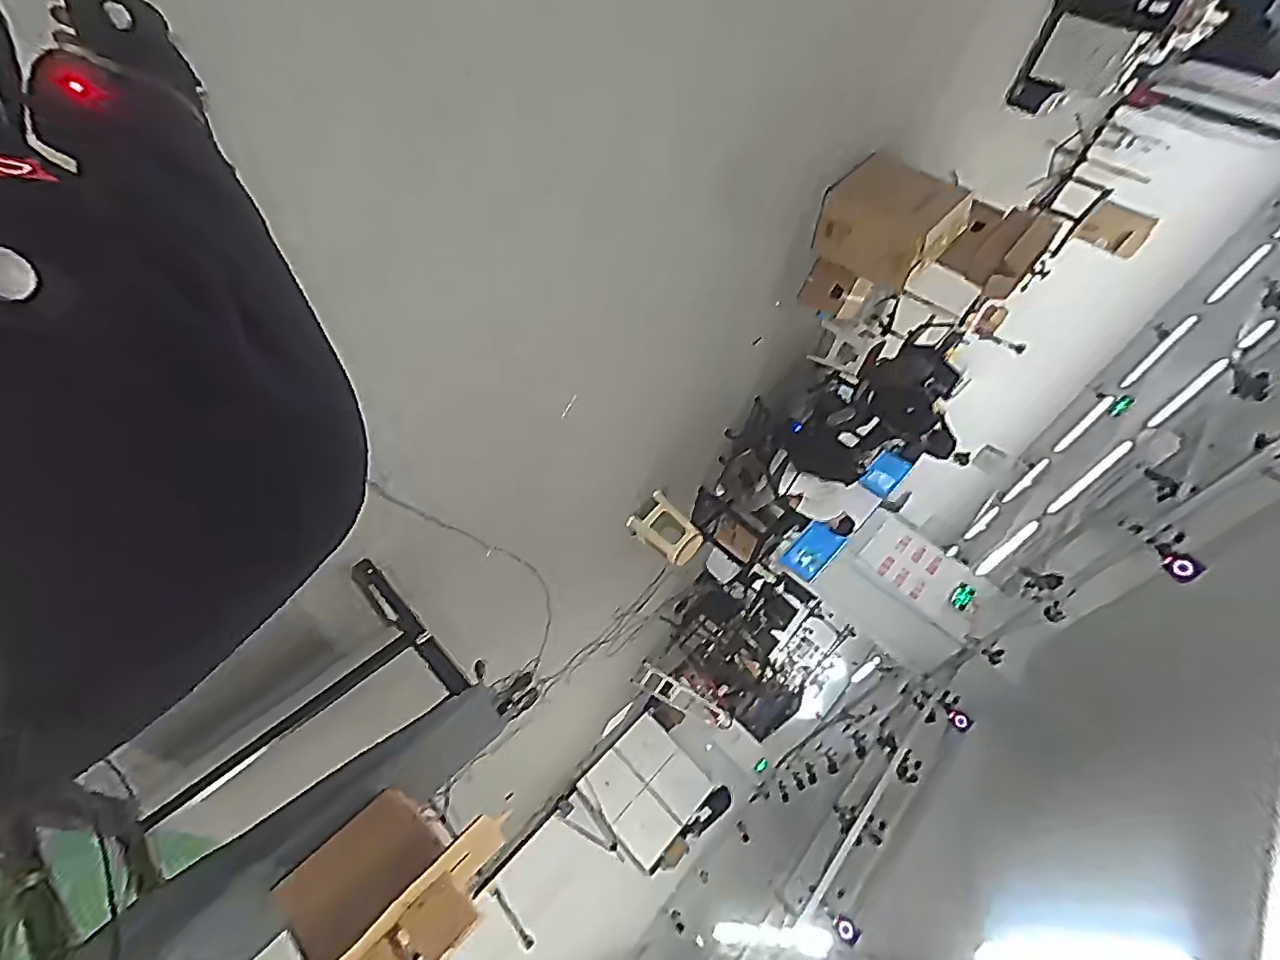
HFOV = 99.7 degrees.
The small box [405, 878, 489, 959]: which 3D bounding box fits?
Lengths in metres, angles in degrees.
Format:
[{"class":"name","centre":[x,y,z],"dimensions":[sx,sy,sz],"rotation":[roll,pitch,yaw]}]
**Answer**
[{"class":"small box","centre":[-0.589,1.361,1.653],"dimensions":[0.168,0.176,0.179],"rotation":[-37,153,-30]}]
